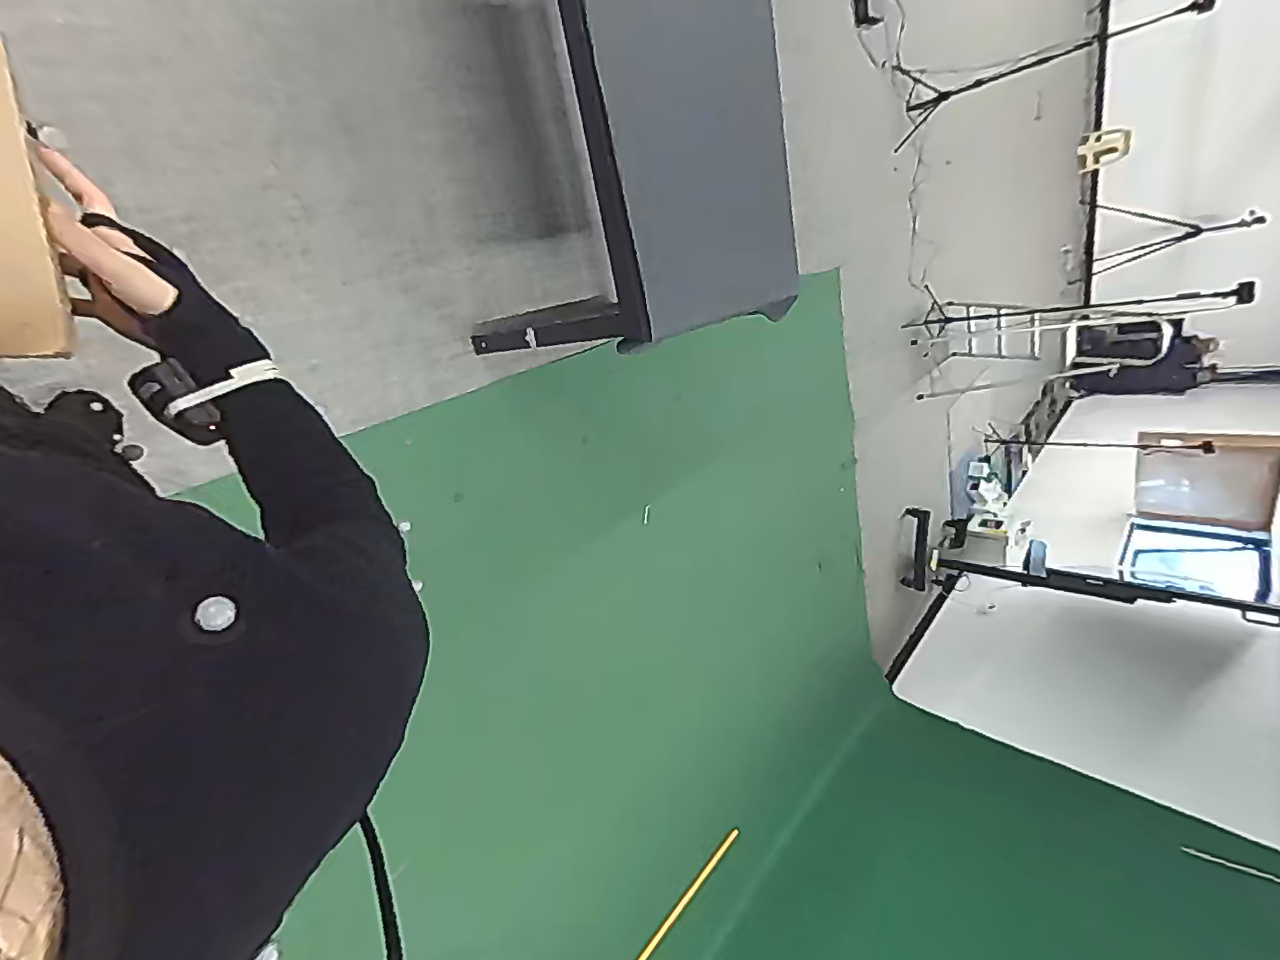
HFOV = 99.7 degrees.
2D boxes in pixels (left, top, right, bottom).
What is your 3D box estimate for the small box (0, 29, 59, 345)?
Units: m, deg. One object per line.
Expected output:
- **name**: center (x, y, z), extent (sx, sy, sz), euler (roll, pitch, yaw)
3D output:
- **small box**: center (-0.463, -0.177, 0.303), extent (0.168, 0.176, 0.179), euler (-11, 114, -44)
